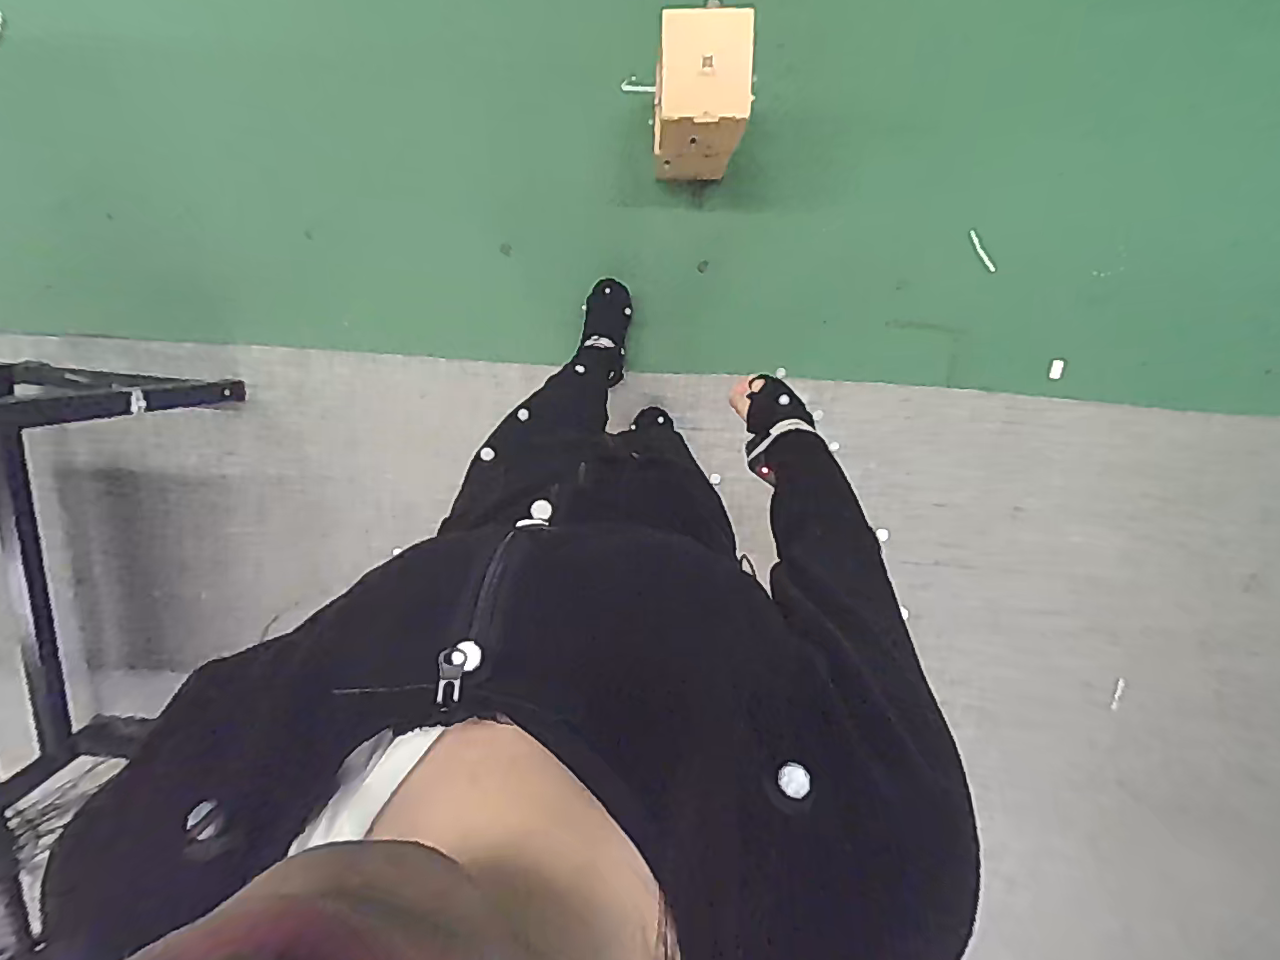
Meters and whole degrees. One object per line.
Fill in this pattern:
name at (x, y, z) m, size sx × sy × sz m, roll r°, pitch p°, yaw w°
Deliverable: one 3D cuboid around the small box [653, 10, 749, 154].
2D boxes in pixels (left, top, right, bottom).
small box at (0.111, -0.765, 1.055) m, size 0.168 × 0.176 × 0.179 m, roll 0°, pitch 104°, yaw -1°
